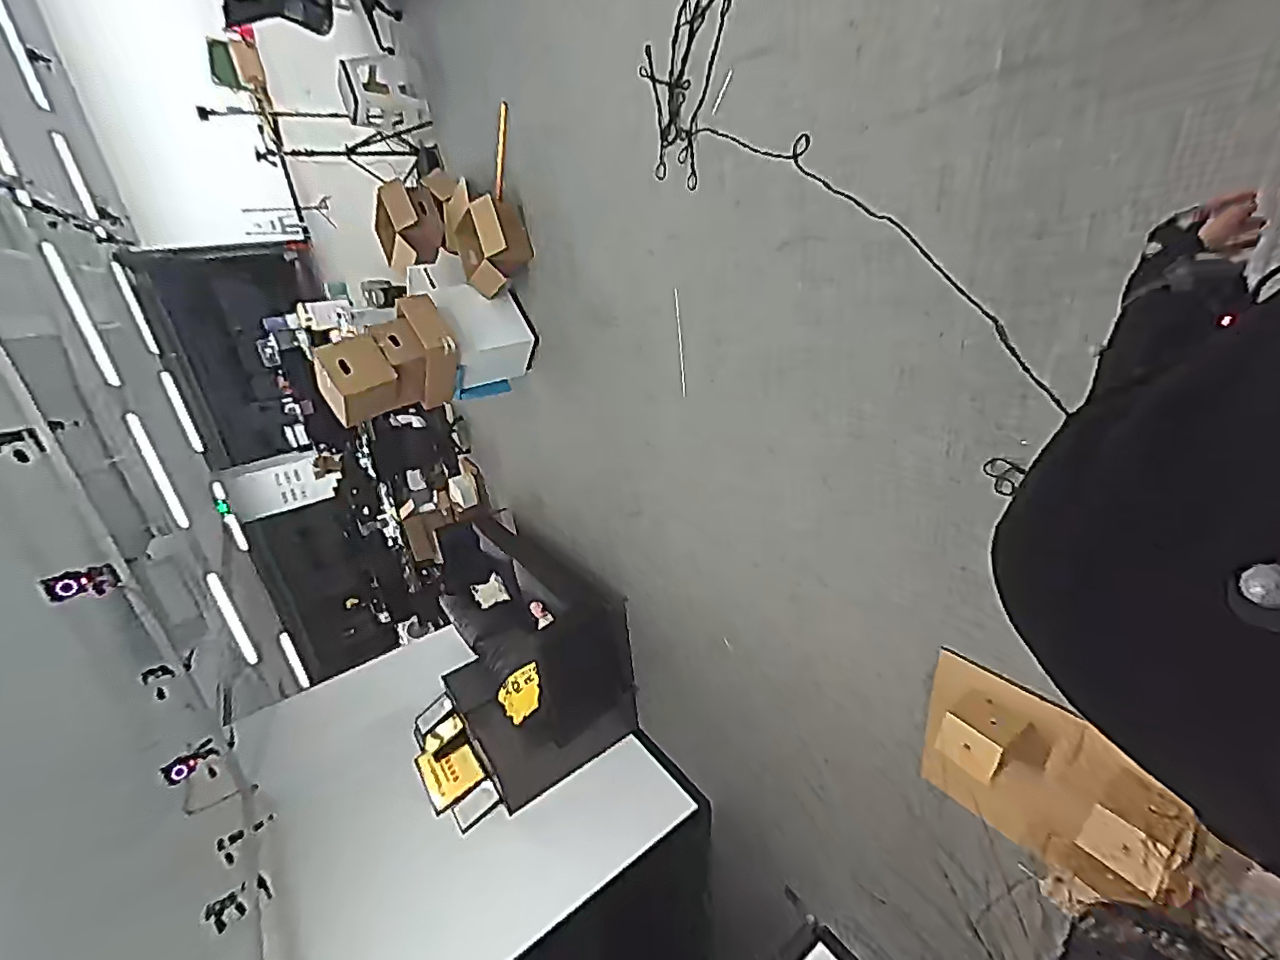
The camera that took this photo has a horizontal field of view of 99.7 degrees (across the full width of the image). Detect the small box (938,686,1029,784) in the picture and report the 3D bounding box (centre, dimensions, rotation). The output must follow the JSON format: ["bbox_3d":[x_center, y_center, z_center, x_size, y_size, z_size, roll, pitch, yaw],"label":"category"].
[{"bbox_3d":[1.052,0.770,1.652,0.168,0.176,0.179,30,133,47],"label":"small box"}]

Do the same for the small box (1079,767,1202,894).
[{"bbox_3d":[1.270,0.878,1.372,0.168,0.176,0.179,32,134,47],"label":"small box"}]

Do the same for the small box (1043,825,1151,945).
[{"bbox_3d":[1.281,1.120,1.507,0.179,0.176,0.168,32,134,45],"label":"small box"}]
